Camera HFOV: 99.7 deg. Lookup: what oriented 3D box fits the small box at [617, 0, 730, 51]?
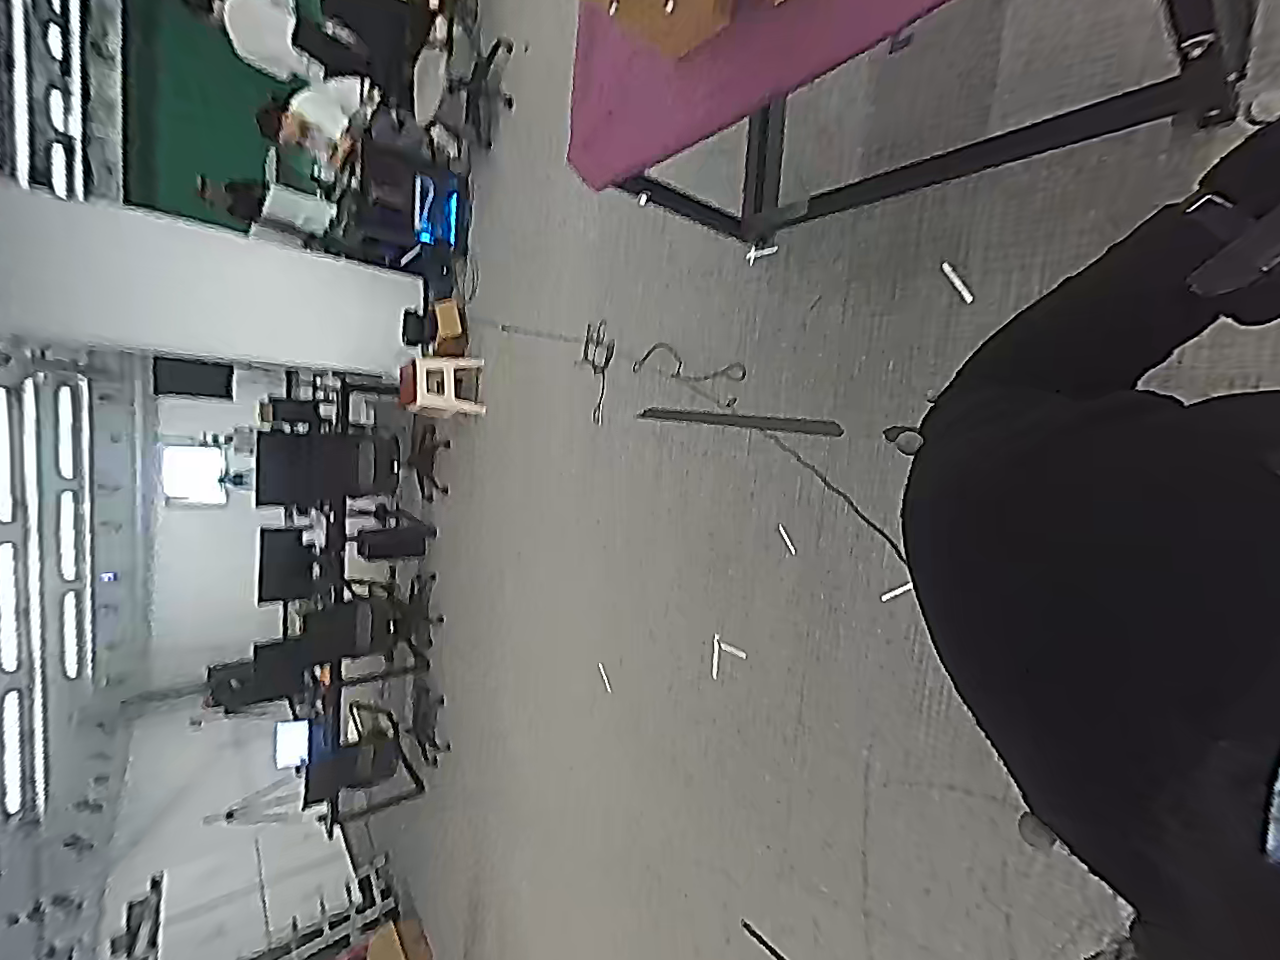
[{"bbox_3d":[0.078,-1.014,1.076,0.179,0.176,0.168,14,100,50],"label":"small box"}]
